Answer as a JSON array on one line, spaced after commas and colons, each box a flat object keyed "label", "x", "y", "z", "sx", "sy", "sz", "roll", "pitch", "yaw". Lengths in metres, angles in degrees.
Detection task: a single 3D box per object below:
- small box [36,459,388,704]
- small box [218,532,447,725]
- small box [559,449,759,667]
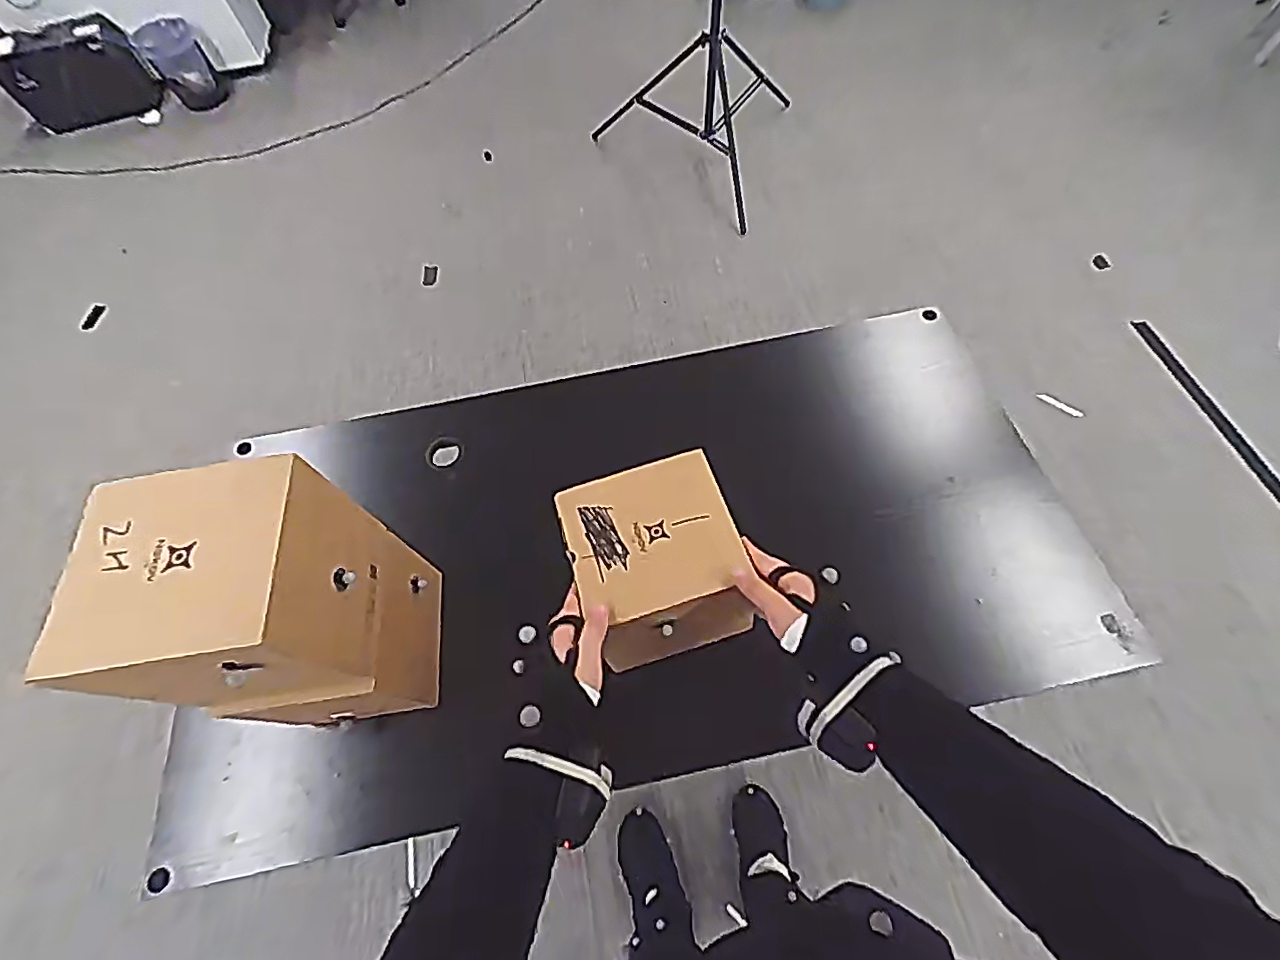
[{"label": "small box", "x": -0.356, "y": 0.102, "z": 0.498, "sx": 0.179, "sy": 0.176, "sz": 0.168, "roll": -9, "pitch": 62, "yaw": 0}, {"label": "small box", "x": -0.341, "y": 0.182, "z": 0.641, "sx": 0.168, "sy": 0.176, "sz": 0.179, "roll": -10, "pitch": 63, "yaw": 0}, {"label": "small box", "x": 0.025, "y": 0.097, "z": 0.620, "sx": 0.179, "sy": 0.176, "sz": 0.168, "roll": -18, "pitch": 58, "yaw": -2}]
